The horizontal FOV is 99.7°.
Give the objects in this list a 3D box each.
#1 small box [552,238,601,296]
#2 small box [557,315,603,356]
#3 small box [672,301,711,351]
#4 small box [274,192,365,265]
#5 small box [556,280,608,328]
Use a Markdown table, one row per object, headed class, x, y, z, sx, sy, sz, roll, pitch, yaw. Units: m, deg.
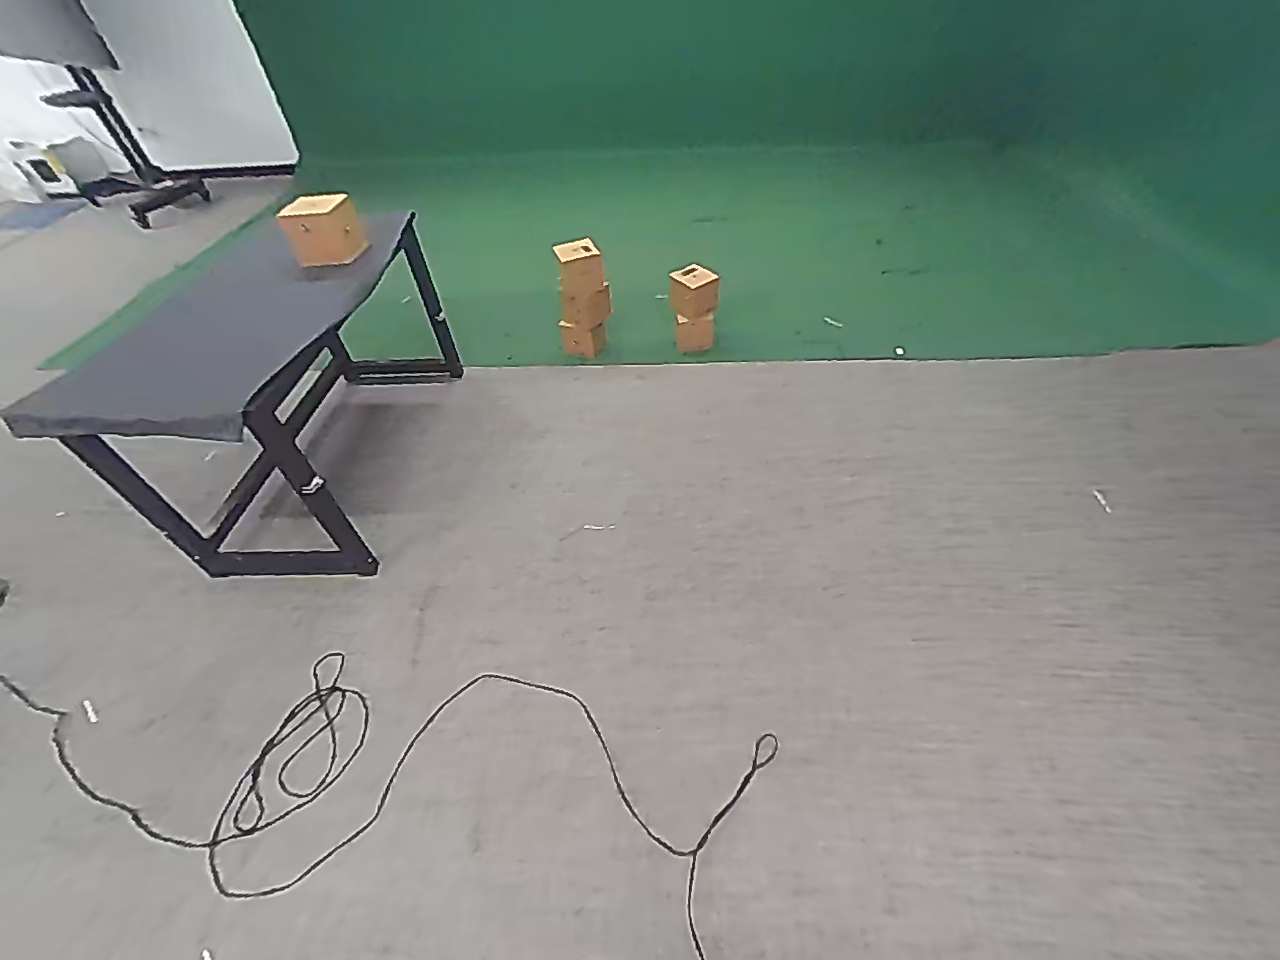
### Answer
| class | x | y | z | sx | sy | sz | roll | pitch | yaw |
| --- | --- | --- | --- | --- | --- | --- | --- | --- | --- |
| small box | -0.280 | -0.947 | 2.406 | 0.179 | 0.176 | 0.168 | -18 | 49 | -12 |
| small box | -0.288 | -0.728 | 2.649 | 0.168 | 0.176 | 0.179 | 13 | 48 | 14 |
| small box | 0.247 | -0.750 | 2.637 | 0.168 | 0.176 | 0.179 | -7 | 46 | -3 |
| small box | -1.049 | -0.831 | 1.791 | 0.179 | 0.176 | 0.168 | -2 | 47 | 4 |
| small box | -0.264 | -0.835 | 2.525 | 0.168 | 0.176 | 0.179 | 30 | 55 | 26 |
